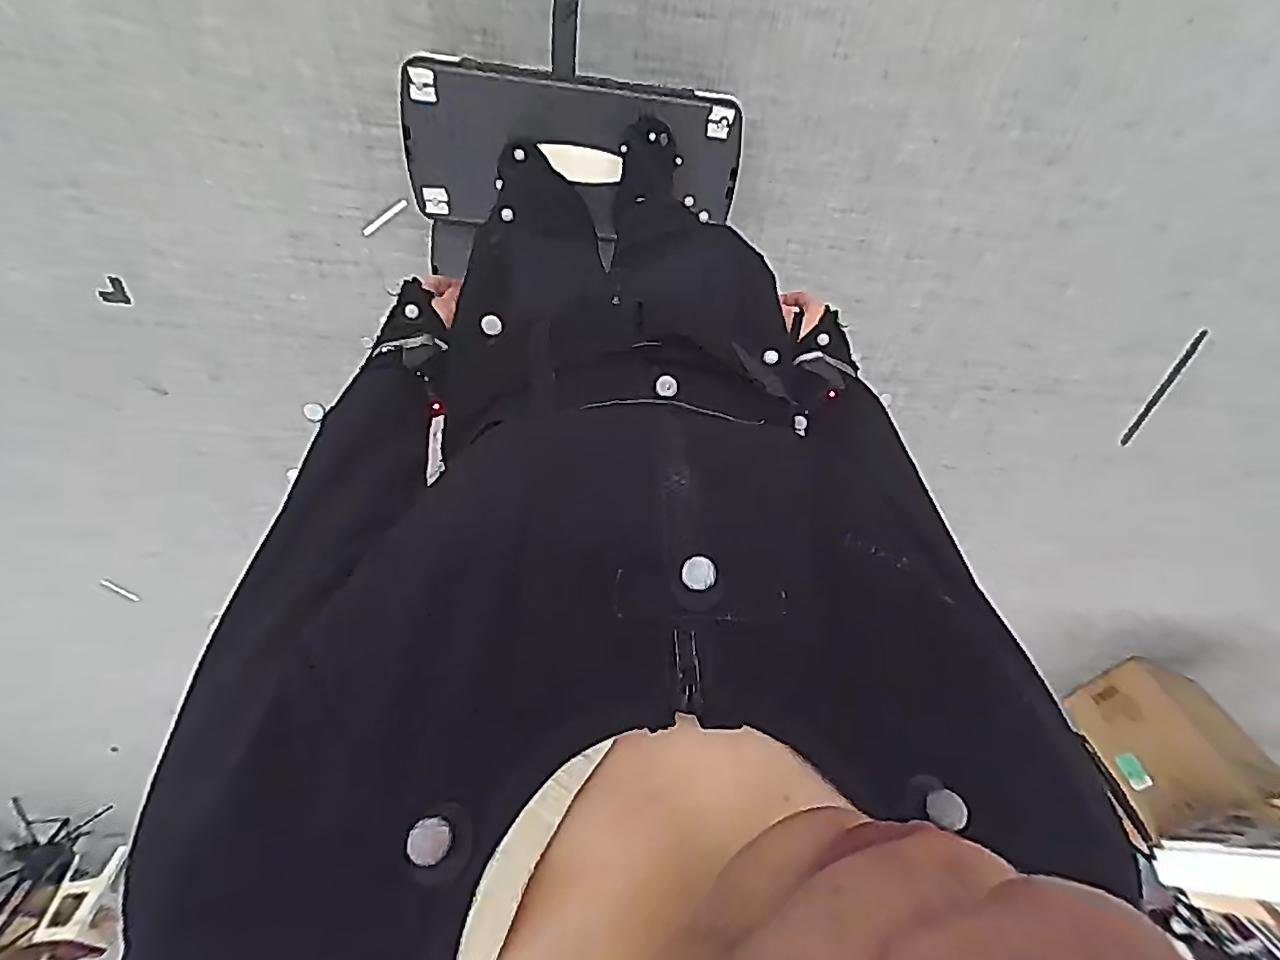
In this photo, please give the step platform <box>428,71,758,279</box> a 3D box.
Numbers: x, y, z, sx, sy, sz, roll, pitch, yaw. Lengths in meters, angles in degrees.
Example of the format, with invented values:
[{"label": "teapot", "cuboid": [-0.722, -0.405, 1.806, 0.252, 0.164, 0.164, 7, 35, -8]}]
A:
[{"label": "step platform", "cuboid": [-0.096, -0.649, 1.179, 0.684, 0.204, 0.286, 7, 125, -8]}]
